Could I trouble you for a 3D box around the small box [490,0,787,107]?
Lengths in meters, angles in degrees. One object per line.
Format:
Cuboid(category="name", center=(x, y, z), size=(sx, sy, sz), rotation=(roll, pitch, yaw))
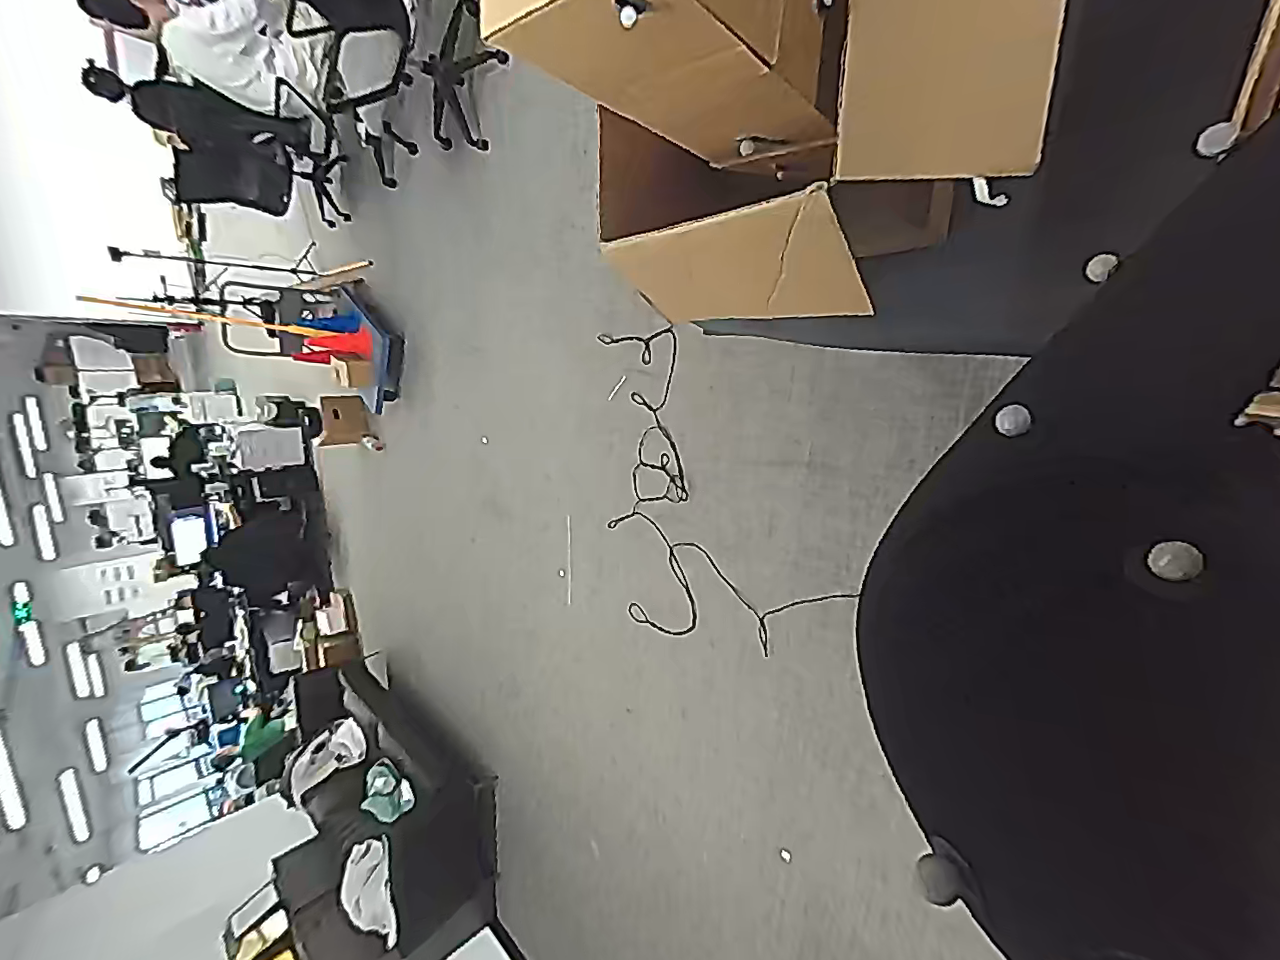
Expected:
Cuboid(category="small box", center=(0.004, -0.426, 0.423), size=(0.179, 0.176, 0.168), rotation=(14, 107, 39))
